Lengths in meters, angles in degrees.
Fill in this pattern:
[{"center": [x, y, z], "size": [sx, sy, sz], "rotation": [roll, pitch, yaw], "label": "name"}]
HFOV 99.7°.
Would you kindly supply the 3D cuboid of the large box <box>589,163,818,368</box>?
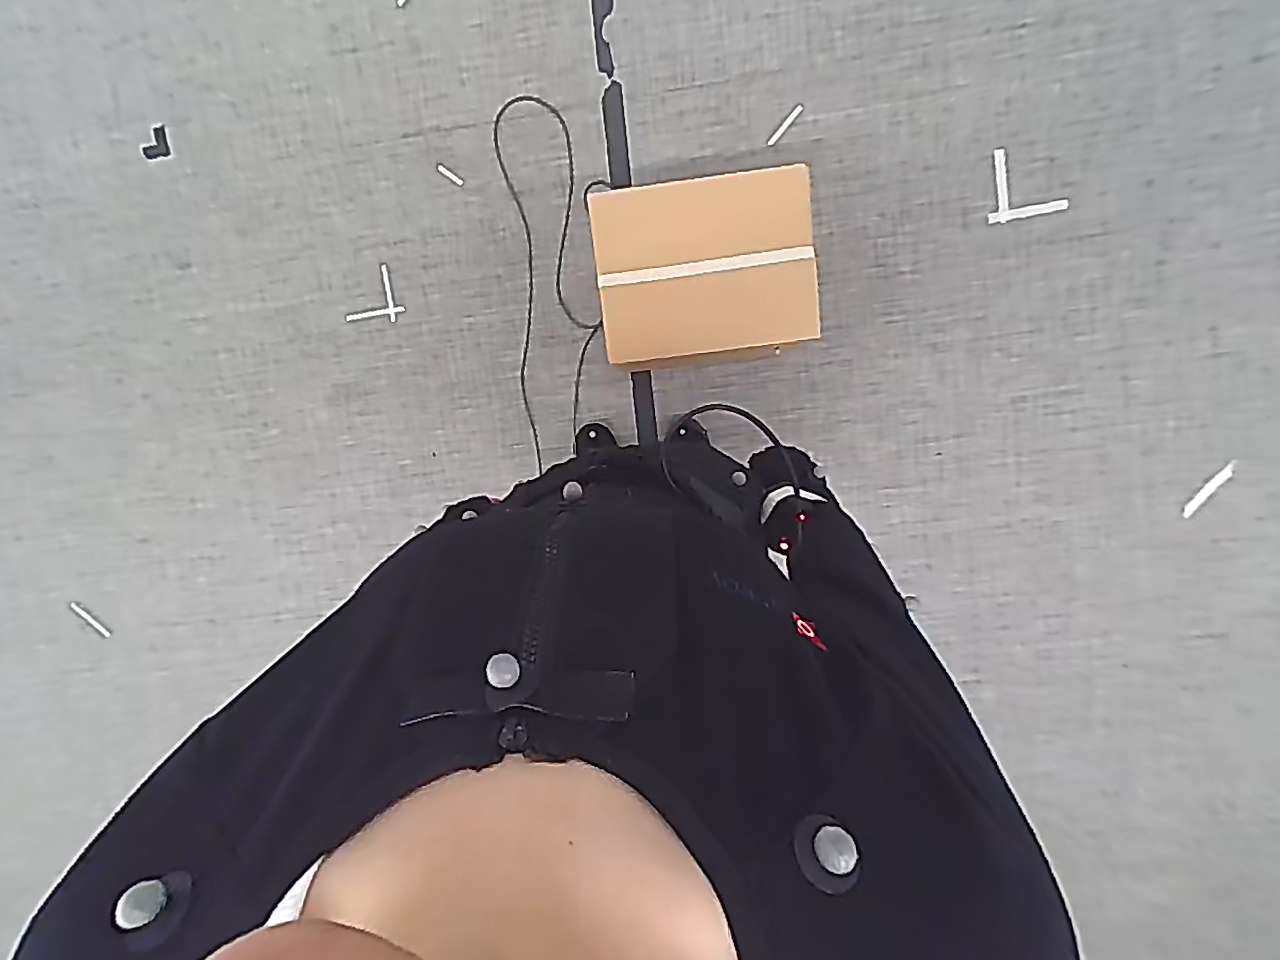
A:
[{"center": [0.127, -0.424, 1.156], "size": [0.408, 0.320, 0.320], "rotation": [-7, 98, 3], "label": "large box"}]
